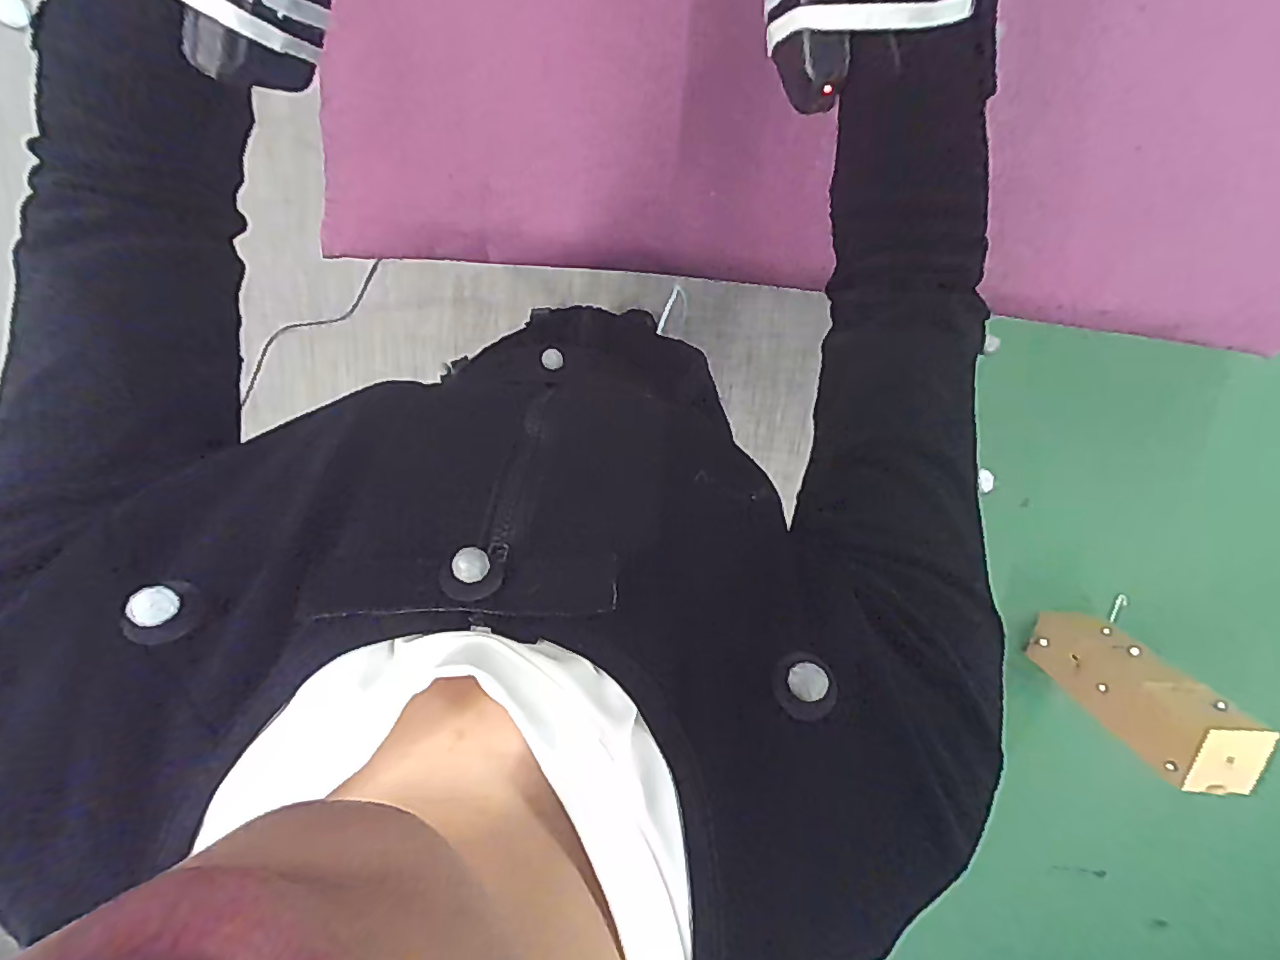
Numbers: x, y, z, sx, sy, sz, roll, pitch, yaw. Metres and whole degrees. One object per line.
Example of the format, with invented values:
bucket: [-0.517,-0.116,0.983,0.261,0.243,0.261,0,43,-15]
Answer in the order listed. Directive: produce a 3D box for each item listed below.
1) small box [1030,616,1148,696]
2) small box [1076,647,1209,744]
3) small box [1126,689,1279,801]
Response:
small box: [1.302,0.514,1.580,0.179,0.176,0.168,4,107,-2]
small box: [1.306,0.570,1.423,0.168,0.176,0.179,6,108,-4]
small box: [1.308,0.615,1.269,0.168,0.176,0.179,3,108,-2]
